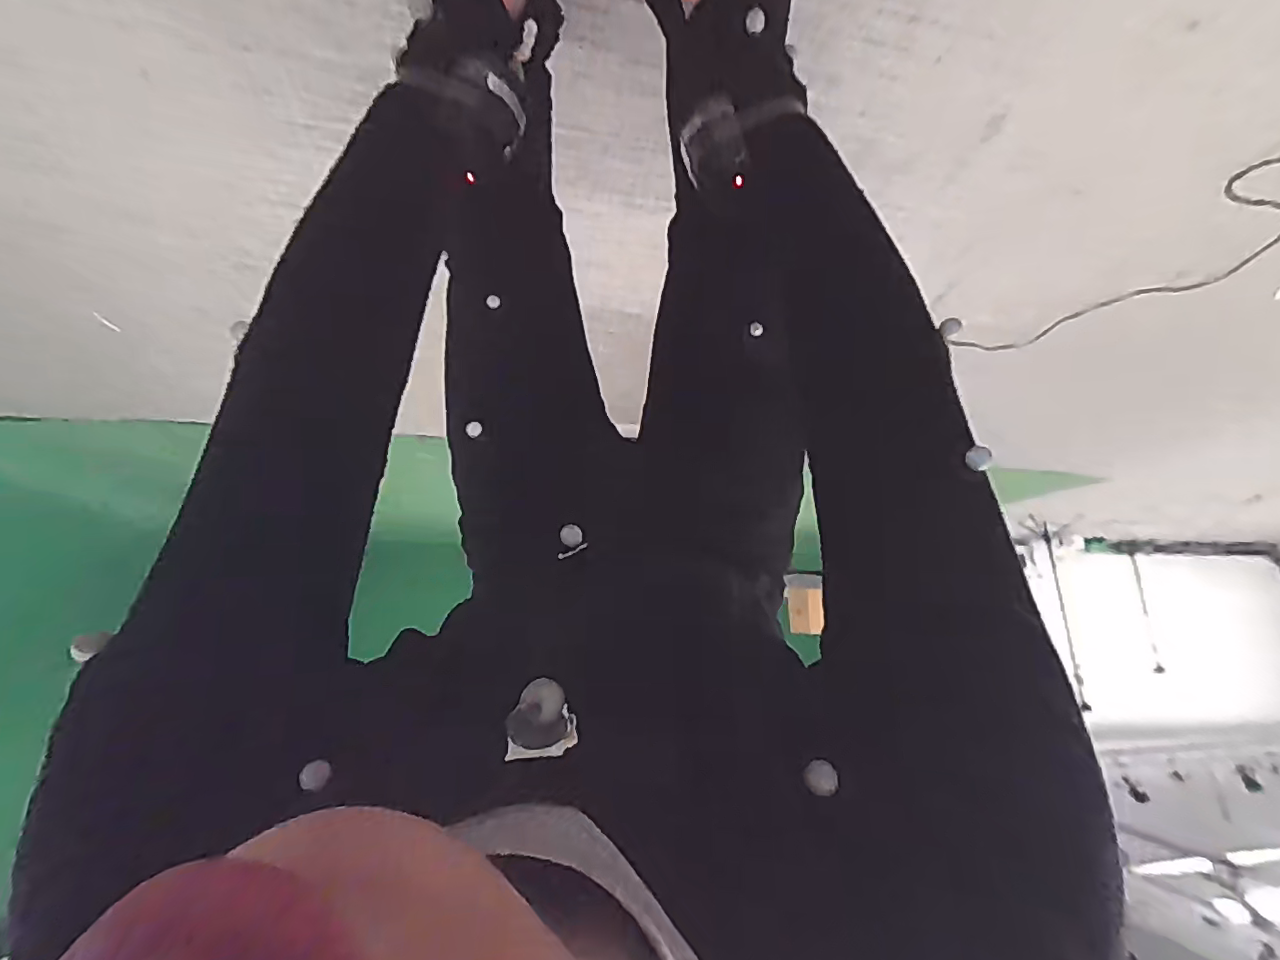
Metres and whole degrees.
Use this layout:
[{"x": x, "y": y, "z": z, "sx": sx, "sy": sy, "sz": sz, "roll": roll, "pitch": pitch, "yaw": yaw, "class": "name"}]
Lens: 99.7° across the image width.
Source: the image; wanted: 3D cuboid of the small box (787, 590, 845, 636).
[{"x": 0.702, "y": 0.535, "z": 2.170, "sx": 0.168, "sy": 0.176, "sz": 0.179, "roll": 3, "pitch": 165, "yaw": -11, "class": "small box"}]
